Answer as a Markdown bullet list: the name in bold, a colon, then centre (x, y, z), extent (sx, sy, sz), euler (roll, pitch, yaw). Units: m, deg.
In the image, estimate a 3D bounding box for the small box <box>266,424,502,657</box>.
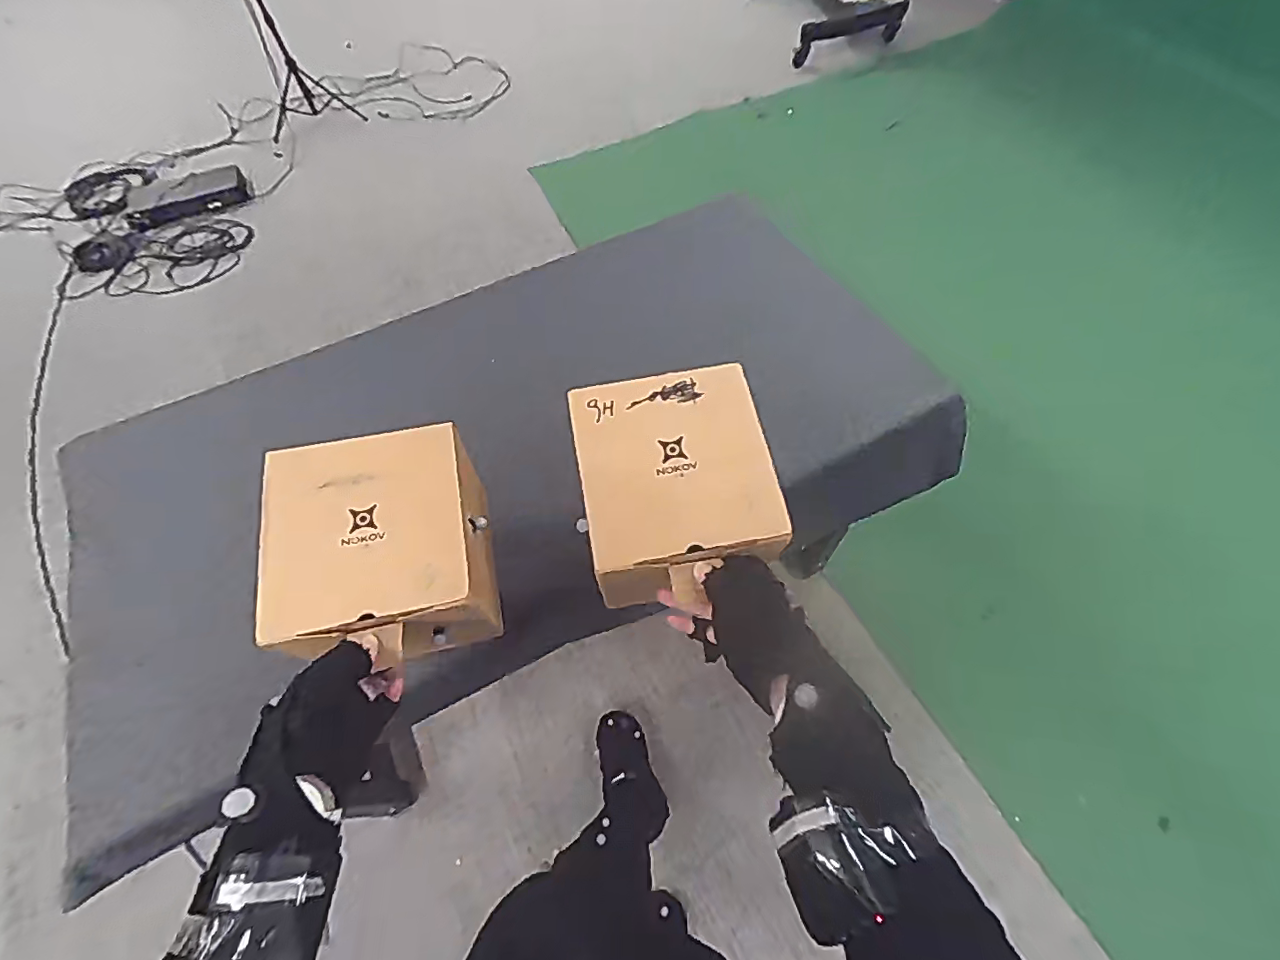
- **small box**: centre (-0.242, 0.071, 0.547), extent (0.168, 0.176, 0.179), euler (-11, 64, -10)
